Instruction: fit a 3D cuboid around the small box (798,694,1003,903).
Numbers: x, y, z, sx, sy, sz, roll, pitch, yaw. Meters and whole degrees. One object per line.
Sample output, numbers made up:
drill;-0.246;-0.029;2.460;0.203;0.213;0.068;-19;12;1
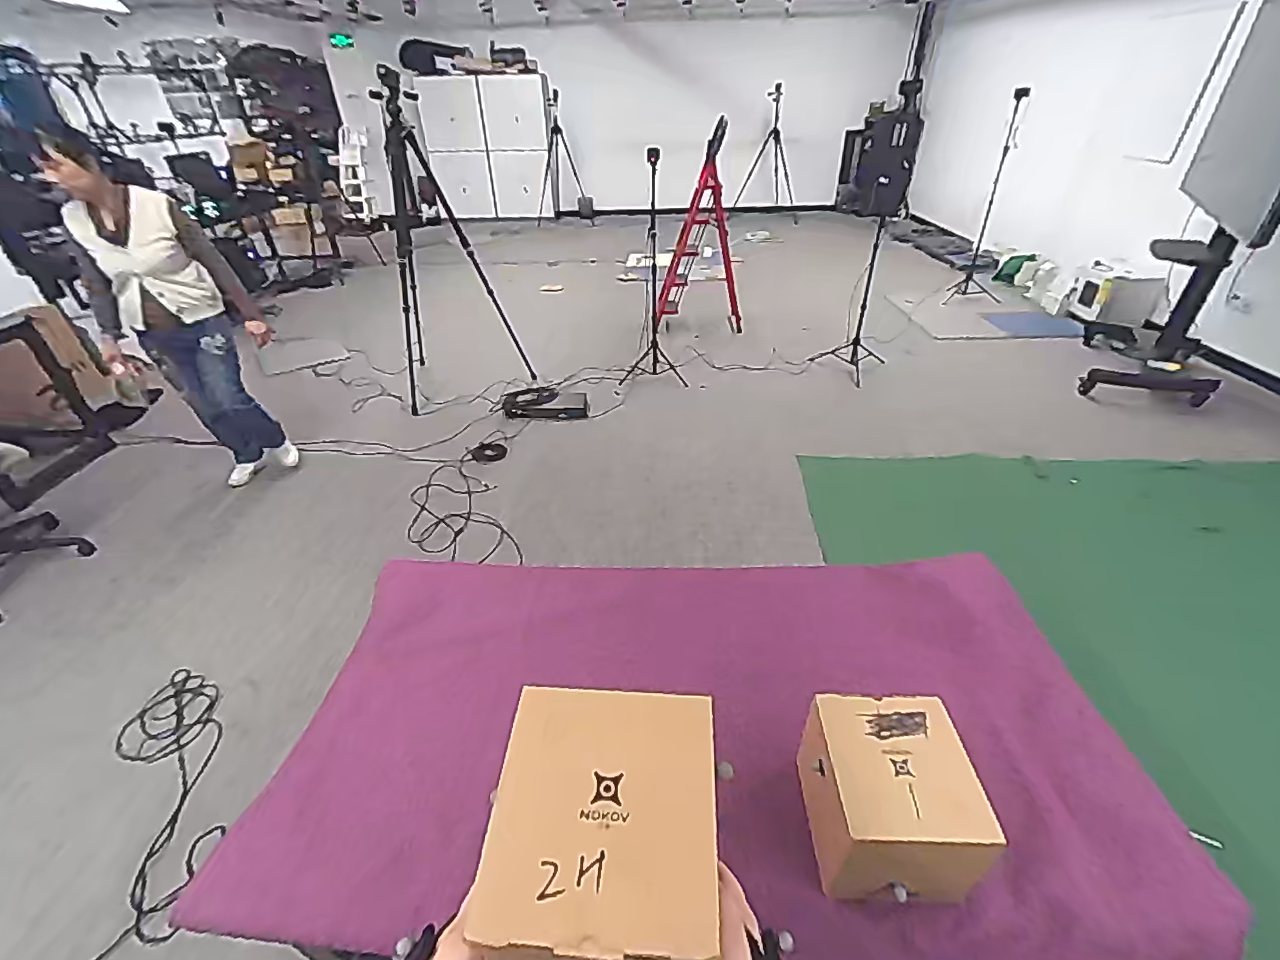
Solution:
small box;0.309;0.400;0.690;0.168;0.176;0.179;0;35;2

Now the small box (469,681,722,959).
small box;-0.022;0.296;0.454;0.168;0.176;0.179;2;41;4
